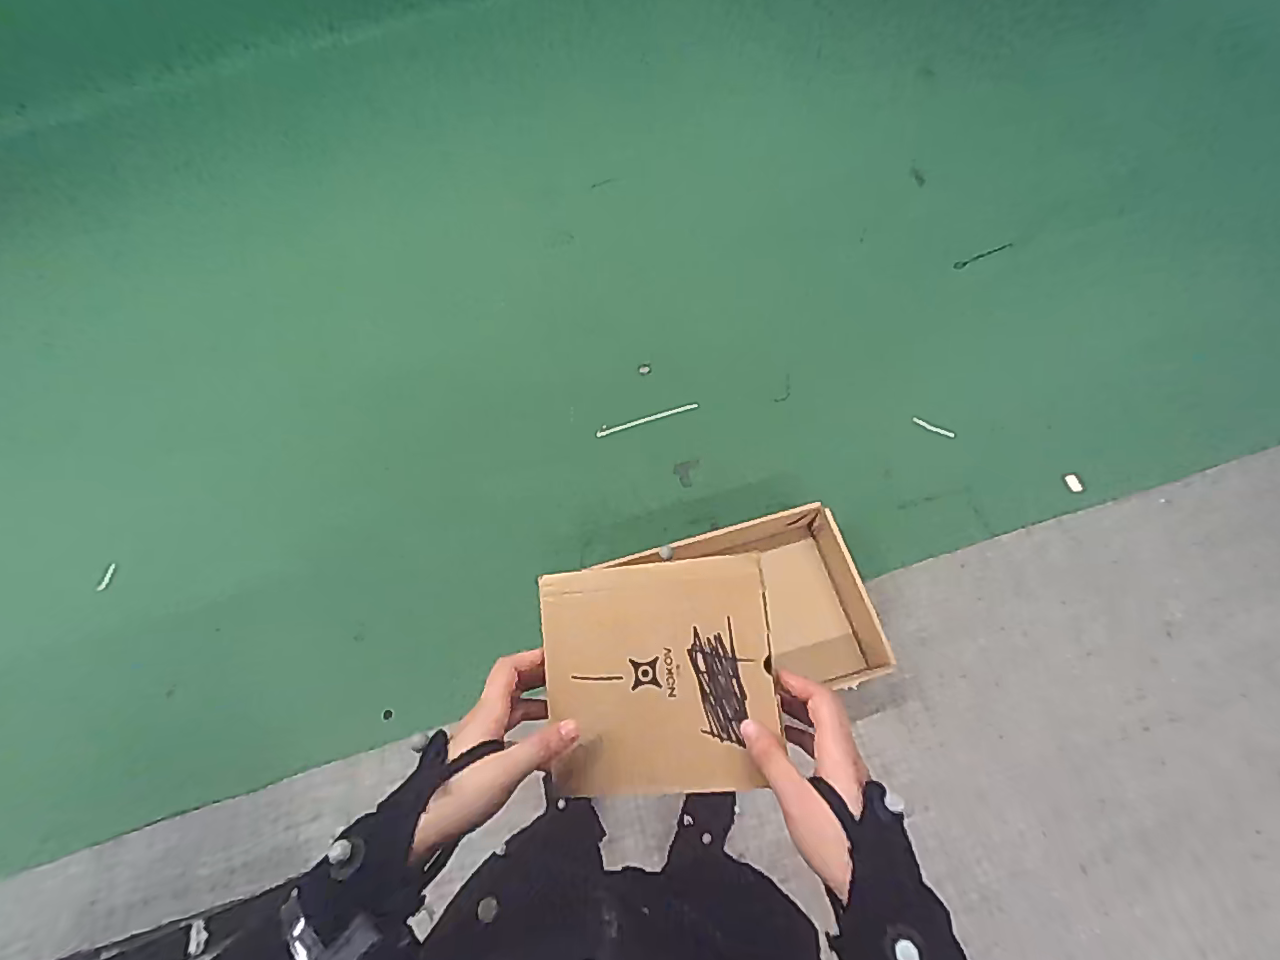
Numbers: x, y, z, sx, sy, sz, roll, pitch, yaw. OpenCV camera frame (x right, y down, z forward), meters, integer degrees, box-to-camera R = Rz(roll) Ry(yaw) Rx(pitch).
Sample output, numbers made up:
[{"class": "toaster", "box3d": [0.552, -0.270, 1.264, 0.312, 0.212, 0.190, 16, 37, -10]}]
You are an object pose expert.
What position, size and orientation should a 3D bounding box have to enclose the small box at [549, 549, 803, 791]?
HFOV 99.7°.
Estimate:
[{"class": "small box", "box3d": [0.033, 0.149, 0.472, 0.179, 0.176, 0.168, -7, 79, 9]}]
